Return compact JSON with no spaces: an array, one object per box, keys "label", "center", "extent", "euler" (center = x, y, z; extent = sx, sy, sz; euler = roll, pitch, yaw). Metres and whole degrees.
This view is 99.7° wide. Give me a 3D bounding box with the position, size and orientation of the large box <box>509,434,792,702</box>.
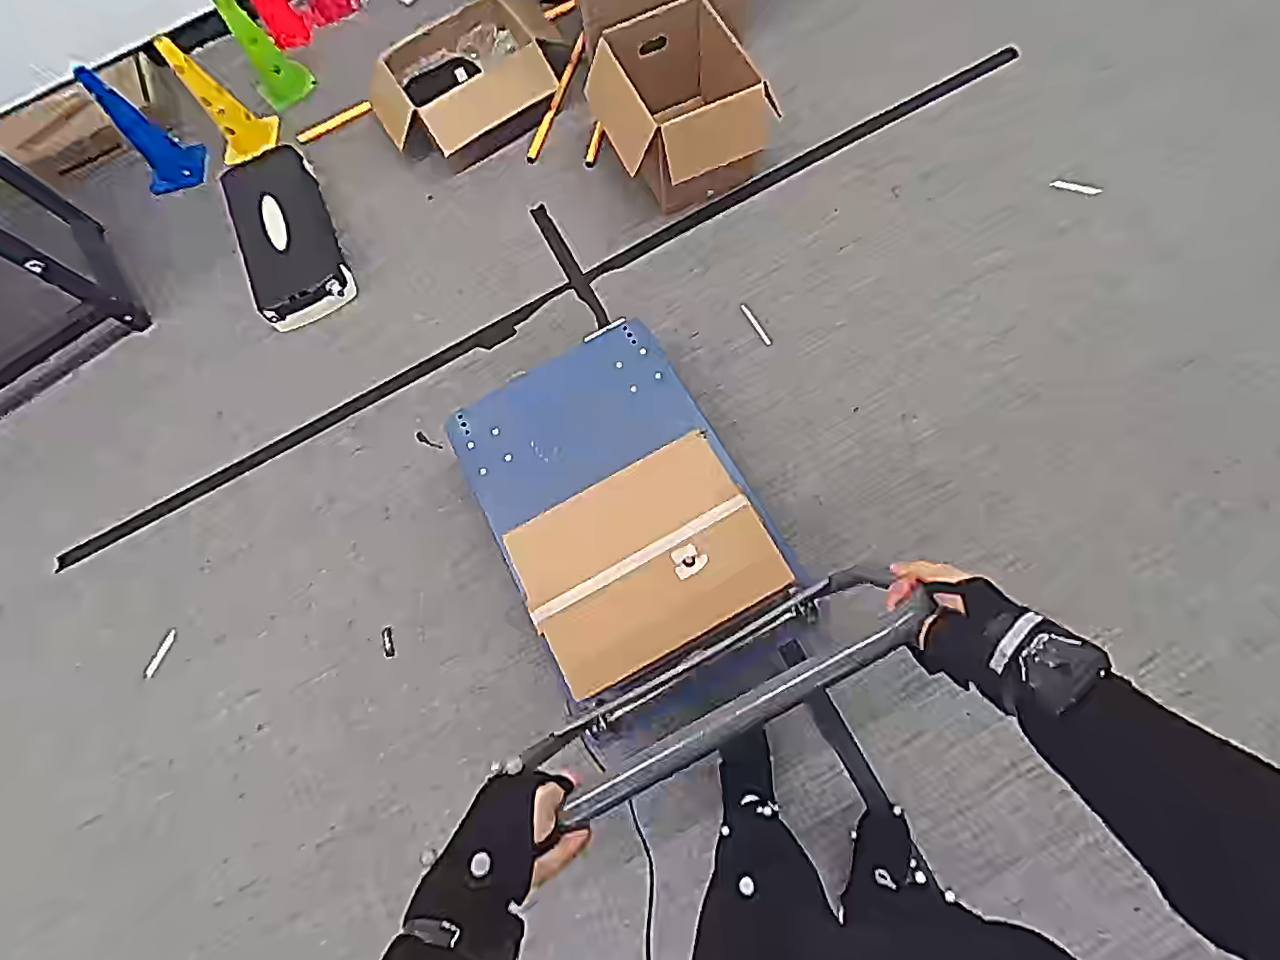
[{"label":"large box","center":[0.024,0.183,1.057],"extent":[0.408,0.320,0.320],"euler":[-29,71,-3]}]
